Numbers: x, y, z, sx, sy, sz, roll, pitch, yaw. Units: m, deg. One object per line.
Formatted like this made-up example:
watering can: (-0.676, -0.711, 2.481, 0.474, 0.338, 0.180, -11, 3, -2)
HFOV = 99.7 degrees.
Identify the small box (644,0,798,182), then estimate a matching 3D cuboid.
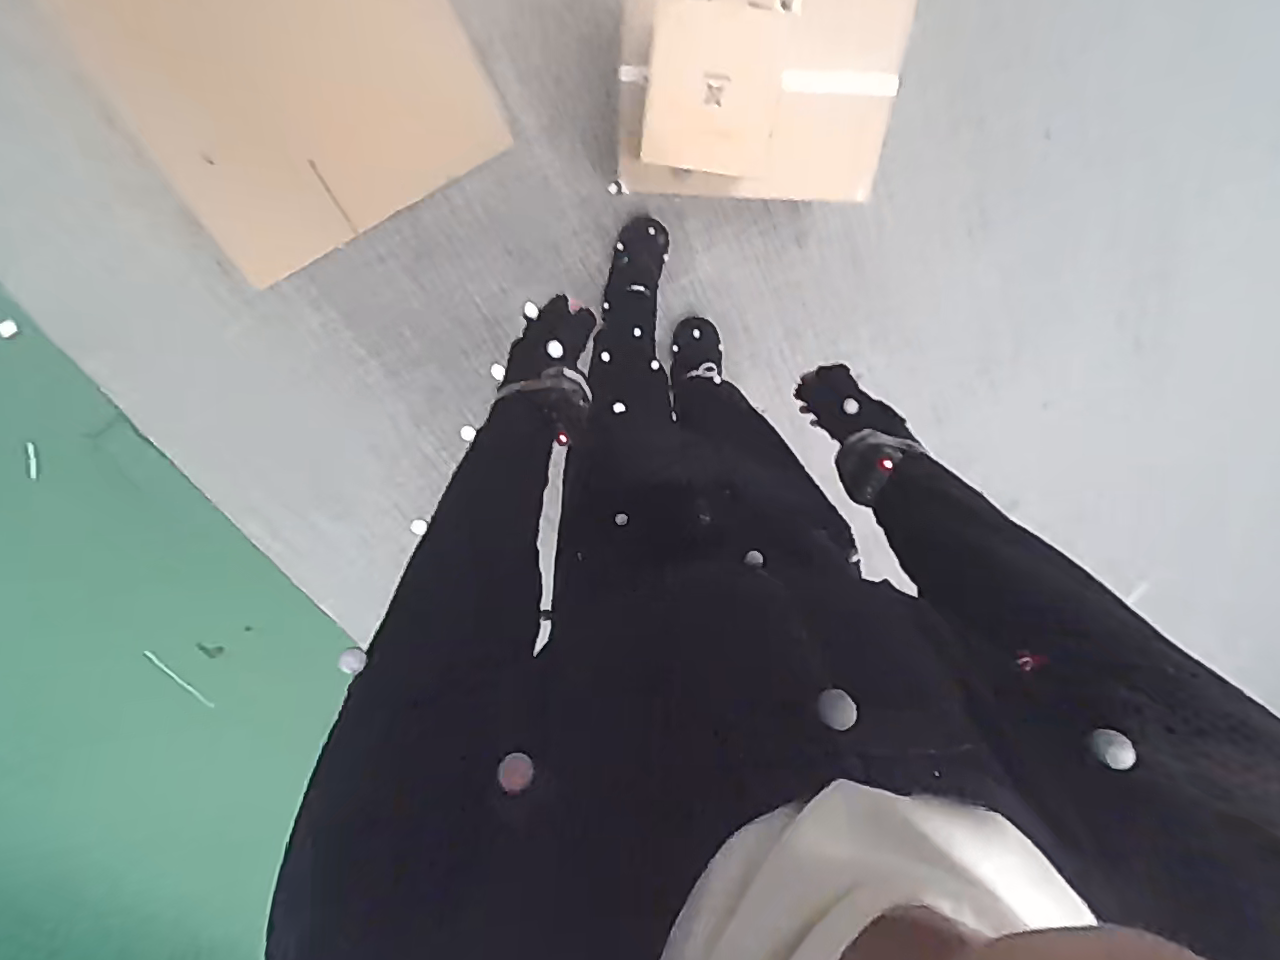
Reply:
small box: (0.098, -0.522, 0.743, 0.168, 0.176, 0.179, 7, 121, -2)
